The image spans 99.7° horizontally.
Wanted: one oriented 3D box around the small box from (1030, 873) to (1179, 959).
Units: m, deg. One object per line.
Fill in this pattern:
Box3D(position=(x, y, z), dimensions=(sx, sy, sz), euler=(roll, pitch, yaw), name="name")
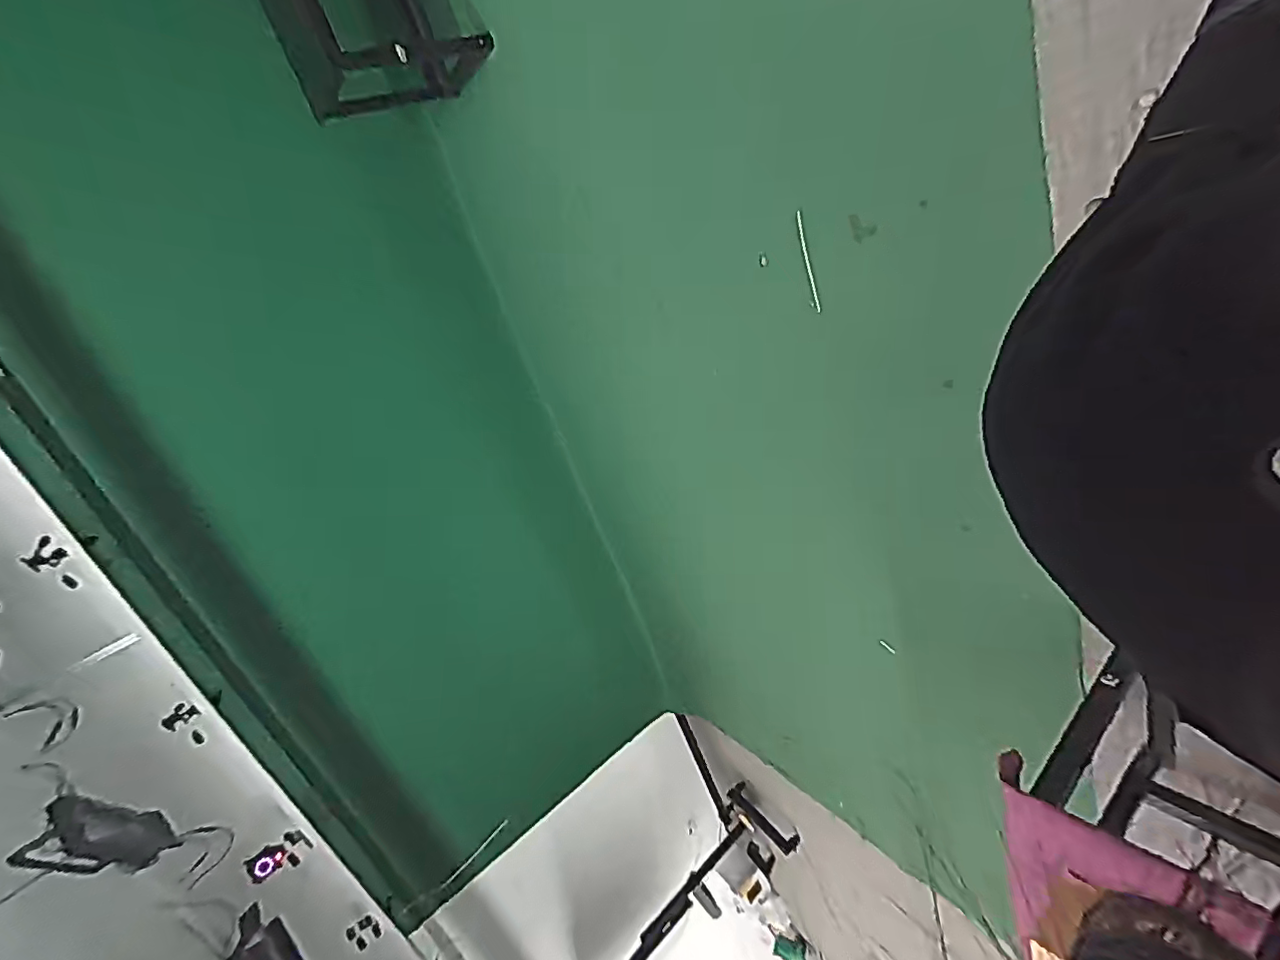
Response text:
Box3D(position=(0.869, 0.901, 1.012), dimensions=(0.179, 0.176, 0.168), euler=(14, 130, 54), name="small box")
